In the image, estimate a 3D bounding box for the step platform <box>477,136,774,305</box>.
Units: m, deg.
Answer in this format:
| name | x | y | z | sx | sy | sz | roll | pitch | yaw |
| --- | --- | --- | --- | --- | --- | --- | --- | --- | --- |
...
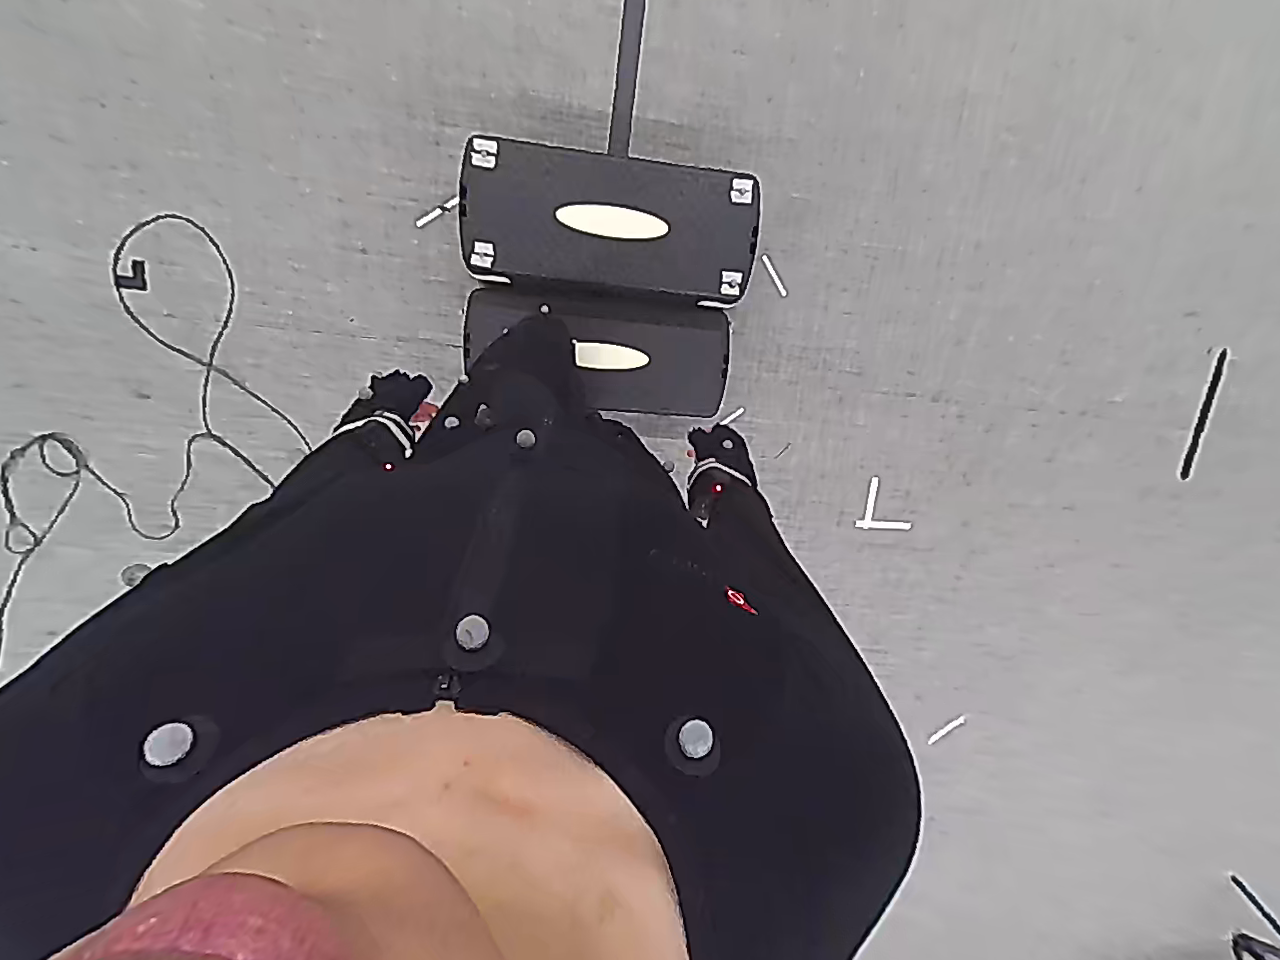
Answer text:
| name | x | y | z | sx | sy | sz | roll | pitch | yaw |
| --- | --- | --- | --- | --- | --- | --- | --- | --- | --- |
| step platform | -0.033 | -0.599 | 1.287 | 0.684 | 0.204 | 0.286 | 4 | 103 | -7 |
